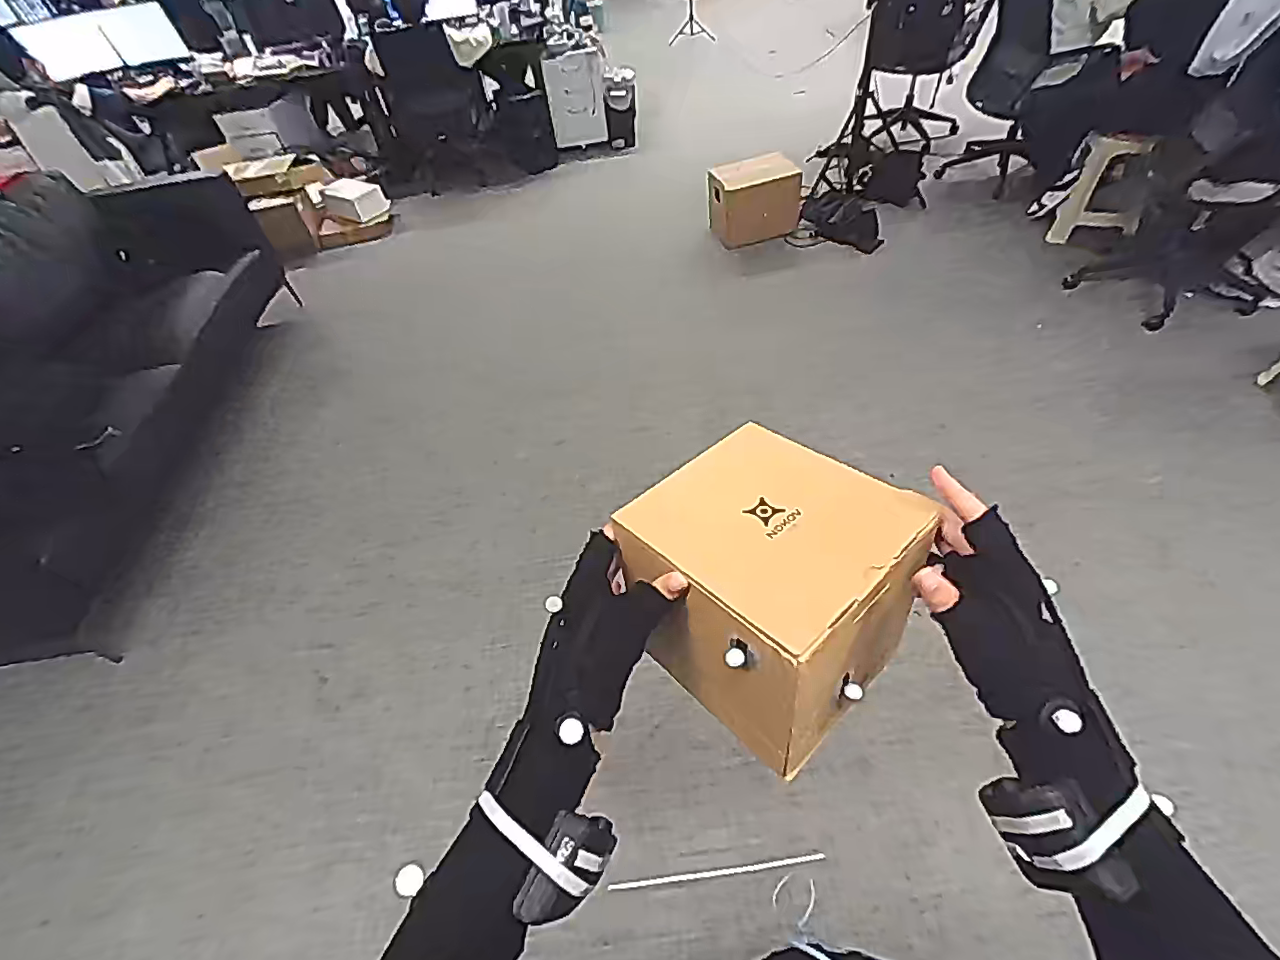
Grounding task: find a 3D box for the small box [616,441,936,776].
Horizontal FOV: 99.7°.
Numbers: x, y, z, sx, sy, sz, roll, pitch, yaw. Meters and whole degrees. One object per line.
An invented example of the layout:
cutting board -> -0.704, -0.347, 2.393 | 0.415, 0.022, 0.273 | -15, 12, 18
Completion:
small box -> 0.103, 0.099, 0.451 | 0.168, 0.176, 0.179 | -32, 45, -27
